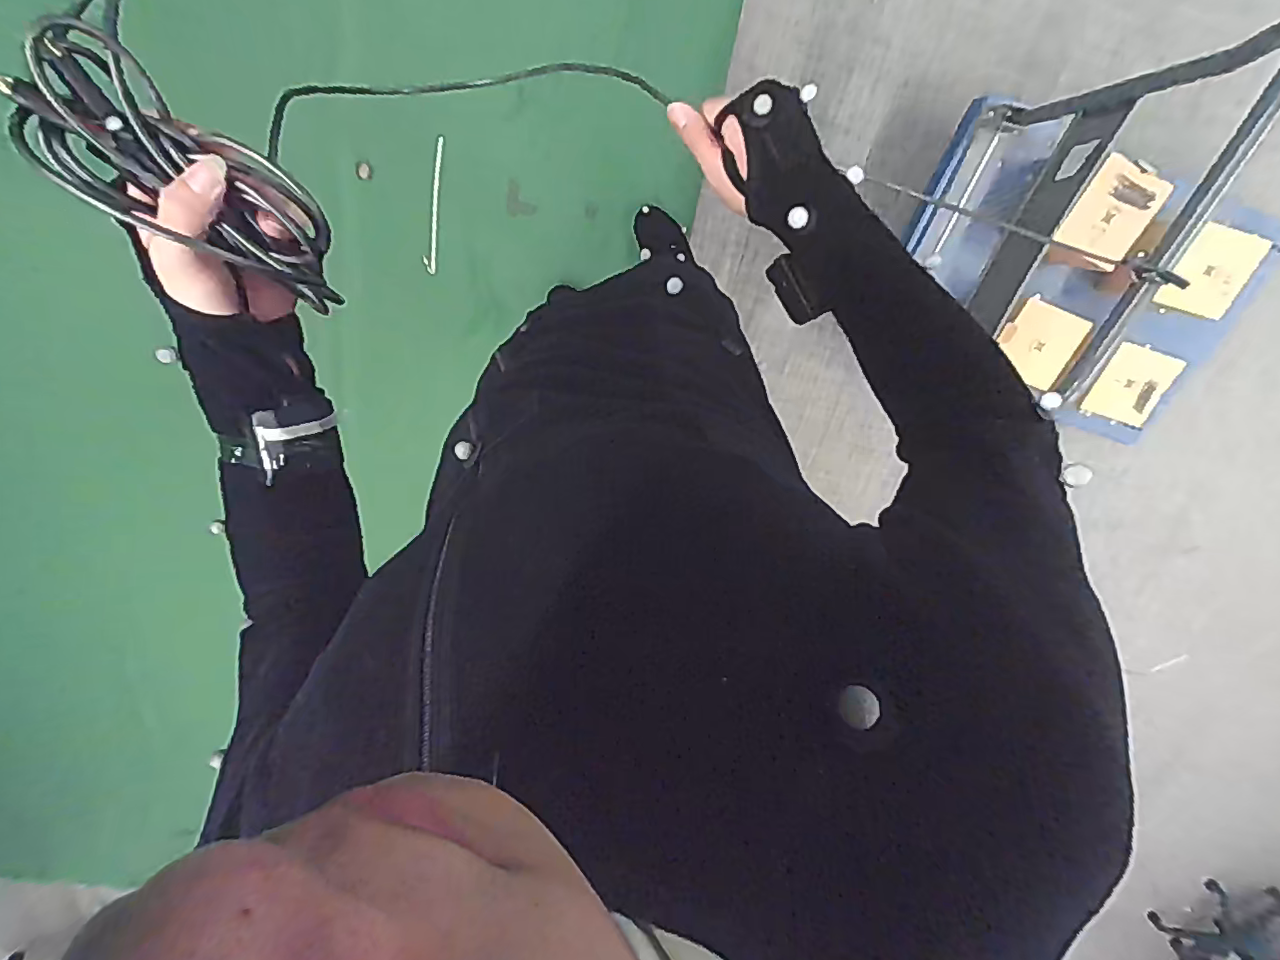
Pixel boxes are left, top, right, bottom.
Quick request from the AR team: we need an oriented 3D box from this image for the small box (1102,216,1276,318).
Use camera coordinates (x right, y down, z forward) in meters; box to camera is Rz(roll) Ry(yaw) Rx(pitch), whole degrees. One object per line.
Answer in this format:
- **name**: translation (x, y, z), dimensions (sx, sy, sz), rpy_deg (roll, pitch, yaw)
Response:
- **small box**: translation (1.205, -0.478, 1.206), dimensions (0.179, 0.176, 0.168), rpy_deg (13, 116, -7)

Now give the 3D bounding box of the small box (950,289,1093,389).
- **small box**: translation (0.886, -0.337, 1.273), dimensions (0.179, 0.176, 0.168), rpy_deg (18, 114, -8)

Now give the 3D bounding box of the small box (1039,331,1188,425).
- **small box**: translation (1.134, -0.255, 1.314), dimensions (0.179, 0.176, 0.168), rpy_deg (15, 114, -7)
